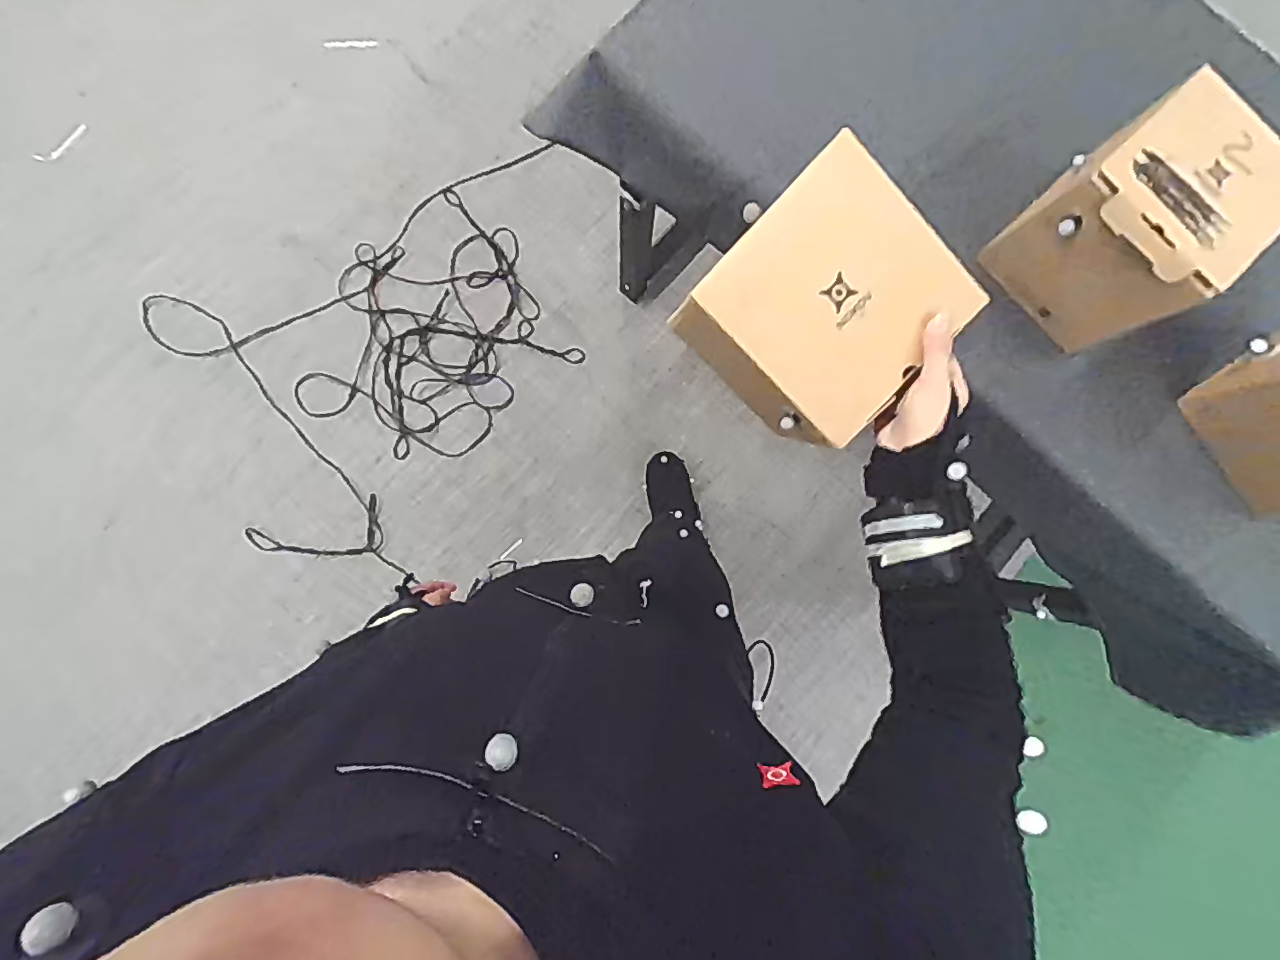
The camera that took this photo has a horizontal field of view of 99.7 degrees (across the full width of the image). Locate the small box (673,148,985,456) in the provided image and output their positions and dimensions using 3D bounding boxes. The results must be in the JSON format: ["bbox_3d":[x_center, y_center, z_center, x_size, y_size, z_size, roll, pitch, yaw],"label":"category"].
[{"bbox_3d":[0.150,-0.144,0.495,0.179,0.176,0.168,44,93,-10],"label":"small box"}]

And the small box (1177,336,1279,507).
[{"bbox_3d":[0.786,-0.078,0.603,0.168,0.176,0.179,-33,87,-6],"label":"small box"}]
